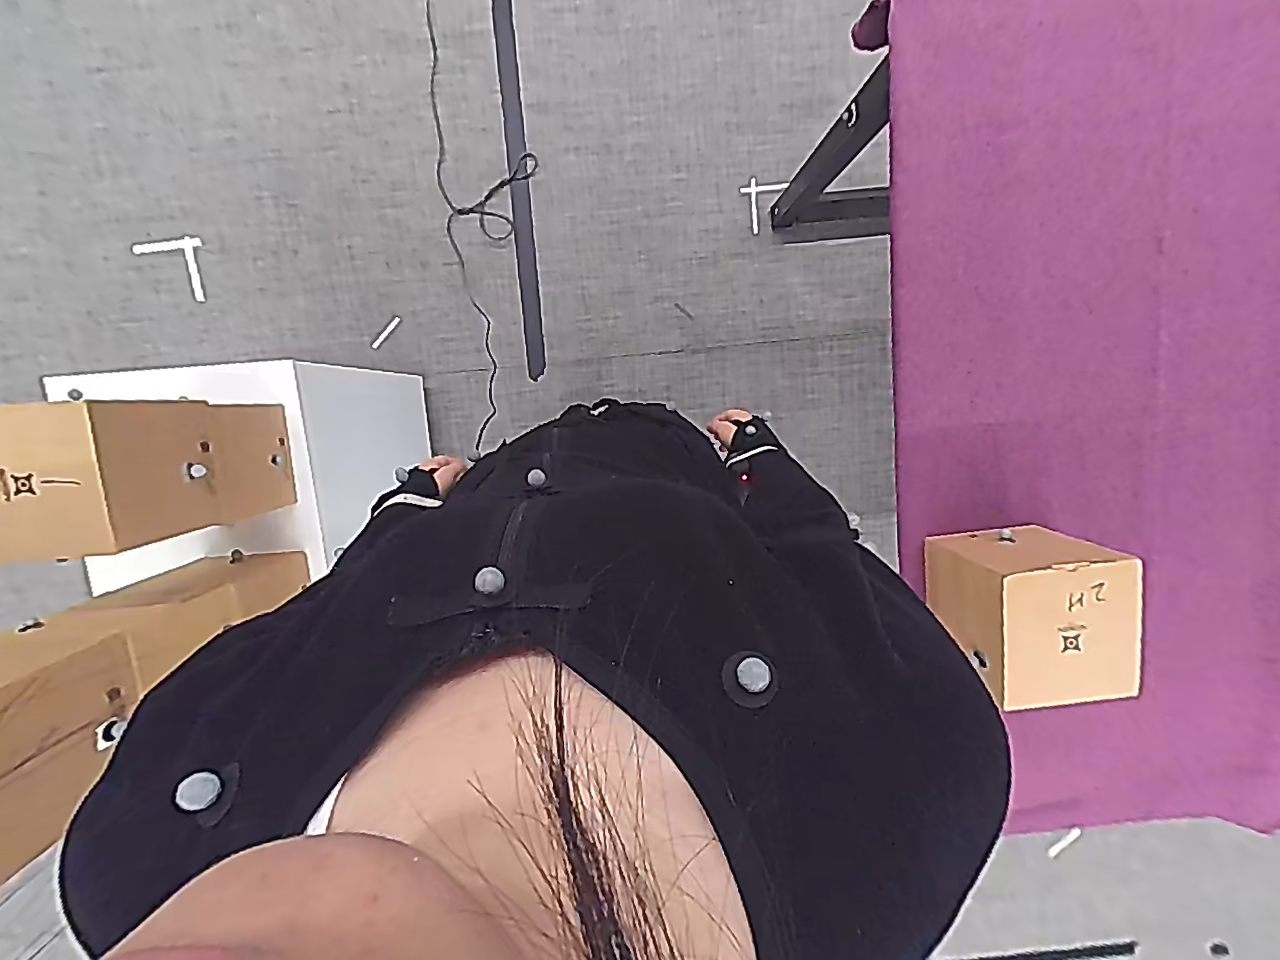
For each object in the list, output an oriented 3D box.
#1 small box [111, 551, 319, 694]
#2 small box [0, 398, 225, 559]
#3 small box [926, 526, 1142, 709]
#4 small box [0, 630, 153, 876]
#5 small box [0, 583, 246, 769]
[{"bbox_3d":[-0.636,0.213,0.831,0.179,0.176,0.168,-4,99,1],"label":"small box"},{"bbox_3d":[-0.641,-0.010,0.633,0.179,0.176,0.168,-3,99,-2],"label":"small box"},{"bbox_3d":[0.502,0.171,0.714,0.168,0.176,0.179,-6,98,-1],"label":"small box"},{"bbox_3d":[-0.630,0.257,0.510,0.179,0.176,0.168,-6,99,-1],"label":"small box"},{"bbox_3d":[-0.631,0.235,0.671,0.179,0.176,0.168,-5,98,0],"label":"small box"}]
